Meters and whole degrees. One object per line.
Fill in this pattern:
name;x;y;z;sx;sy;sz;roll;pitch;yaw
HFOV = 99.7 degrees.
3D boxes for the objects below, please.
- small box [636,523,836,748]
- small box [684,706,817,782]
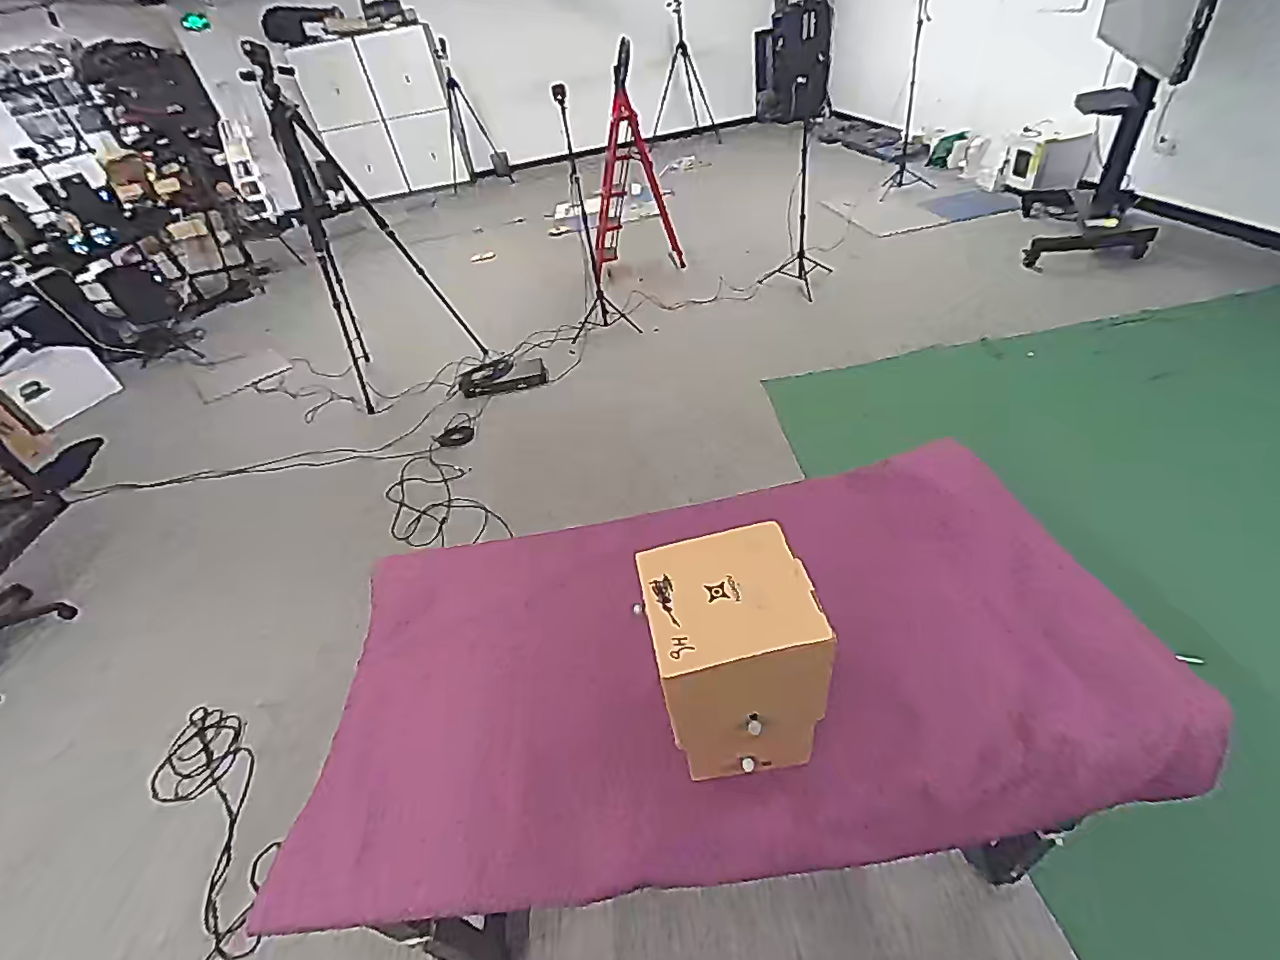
small box;0.101;0.178;0.620;0.179;0.176;0.168;-12;40;-1
small box;0.131;0.283;0.746;0.168;0.176;0.179;-10;40;2
